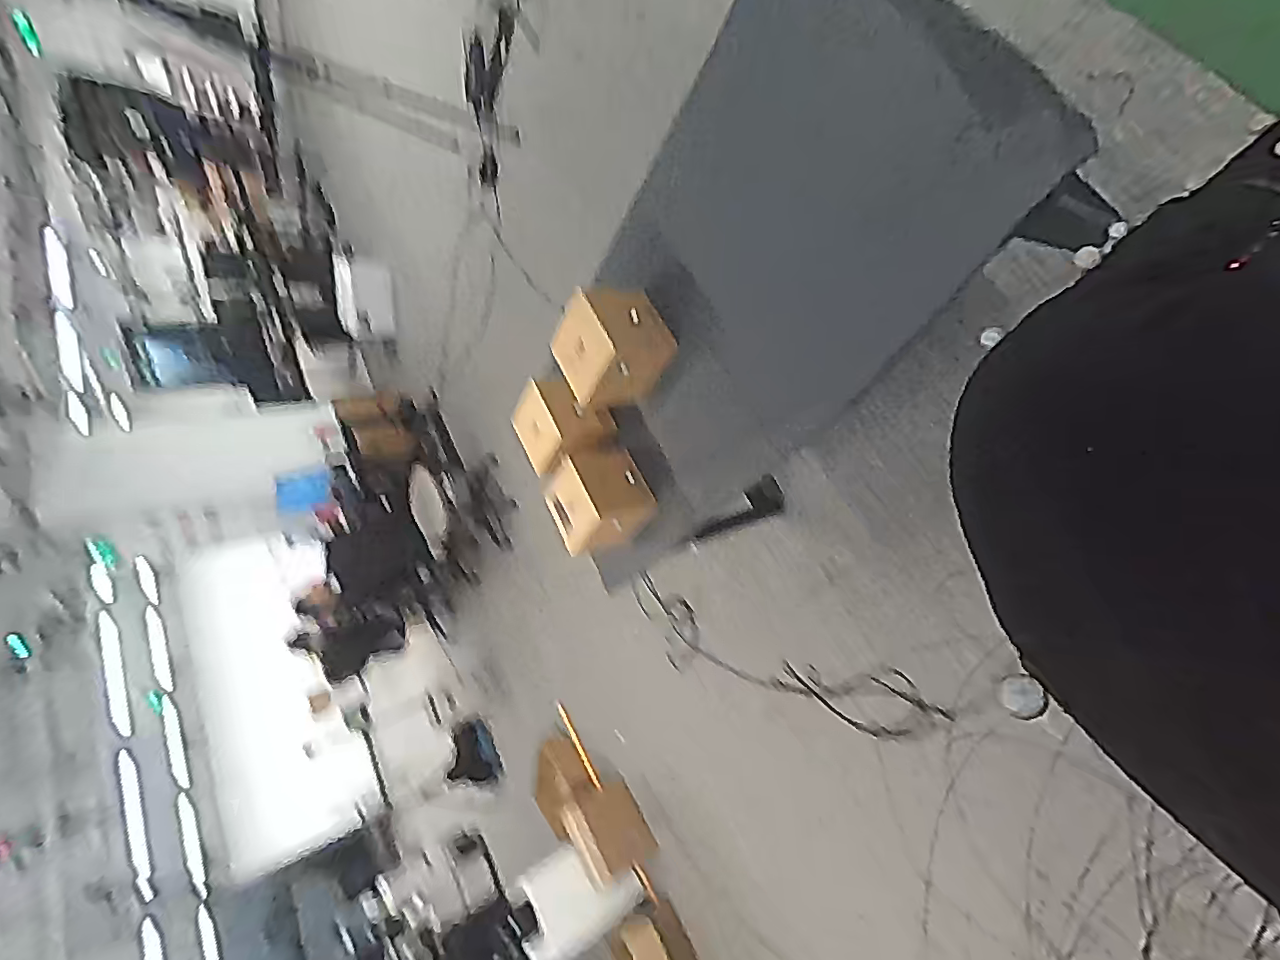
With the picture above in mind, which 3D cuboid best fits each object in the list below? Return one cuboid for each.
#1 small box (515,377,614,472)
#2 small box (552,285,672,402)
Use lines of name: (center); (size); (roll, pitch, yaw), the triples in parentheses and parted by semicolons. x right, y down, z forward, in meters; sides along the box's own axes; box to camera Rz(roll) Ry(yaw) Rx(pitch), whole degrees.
small box: (-0.186, -0.147, 1.357); (0.168, 0.176, 0.179); (61, 140, 19)
small box: (-0.056, -0.288, 1.145); (0.168, 0.176, 0.179); (62, 140, 19)
